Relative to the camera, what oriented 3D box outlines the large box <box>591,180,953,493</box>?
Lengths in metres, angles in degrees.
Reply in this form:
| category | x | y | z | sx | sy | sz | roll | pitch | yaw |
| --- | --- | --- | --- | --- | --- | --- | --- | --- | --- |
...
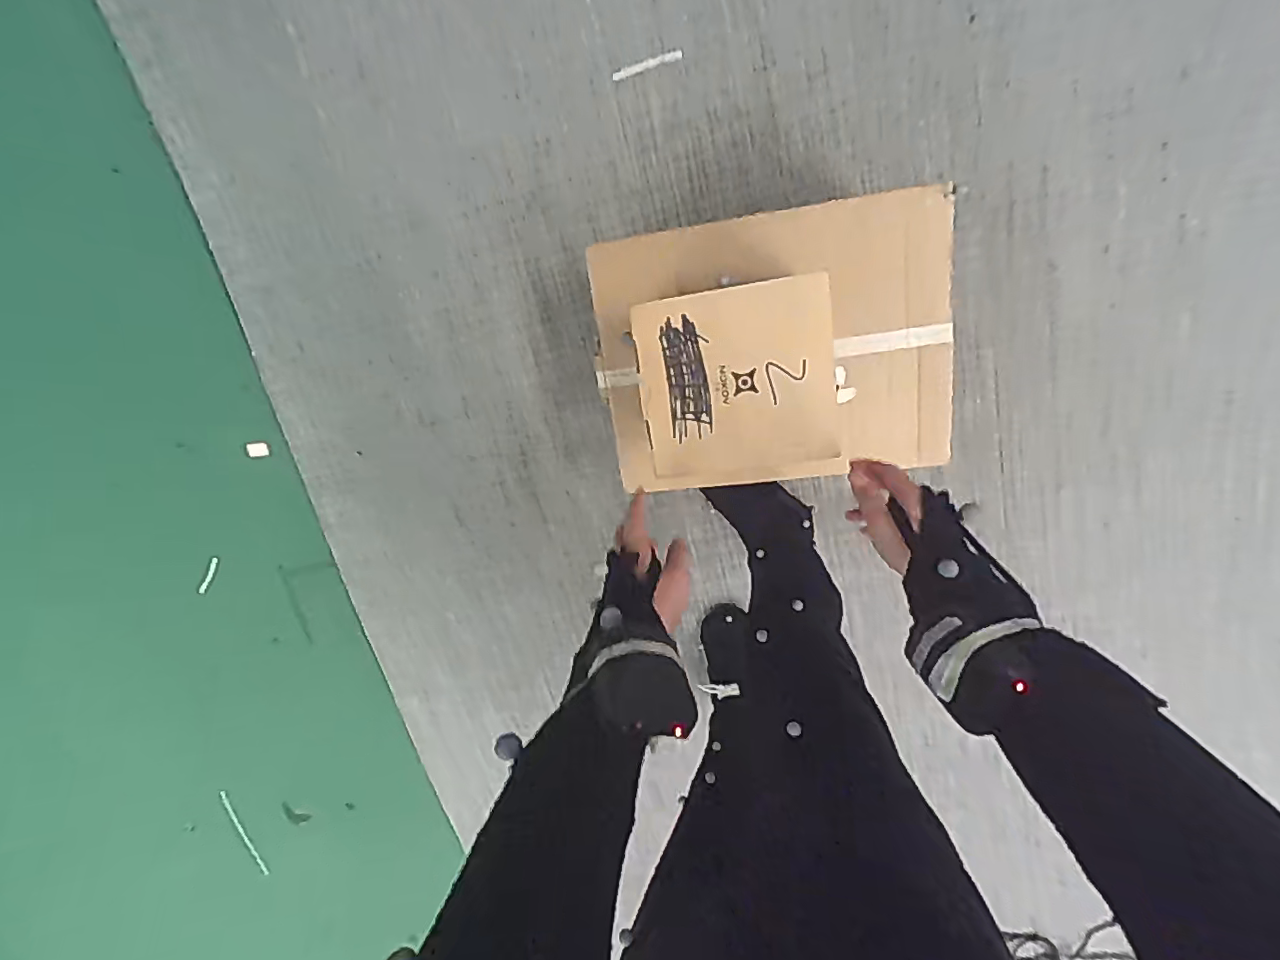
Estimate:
| category | x | y | z | sx | sy | sz | roll | pitch | yaw |
| --- | --- | --- | --- | --- | --- | --- | --- | --- | --- |
| large box | 0.176 | -0.193 | 0.784 | 0.408 | 0.320 | 0.320 | -6 | 107 | 9 |
